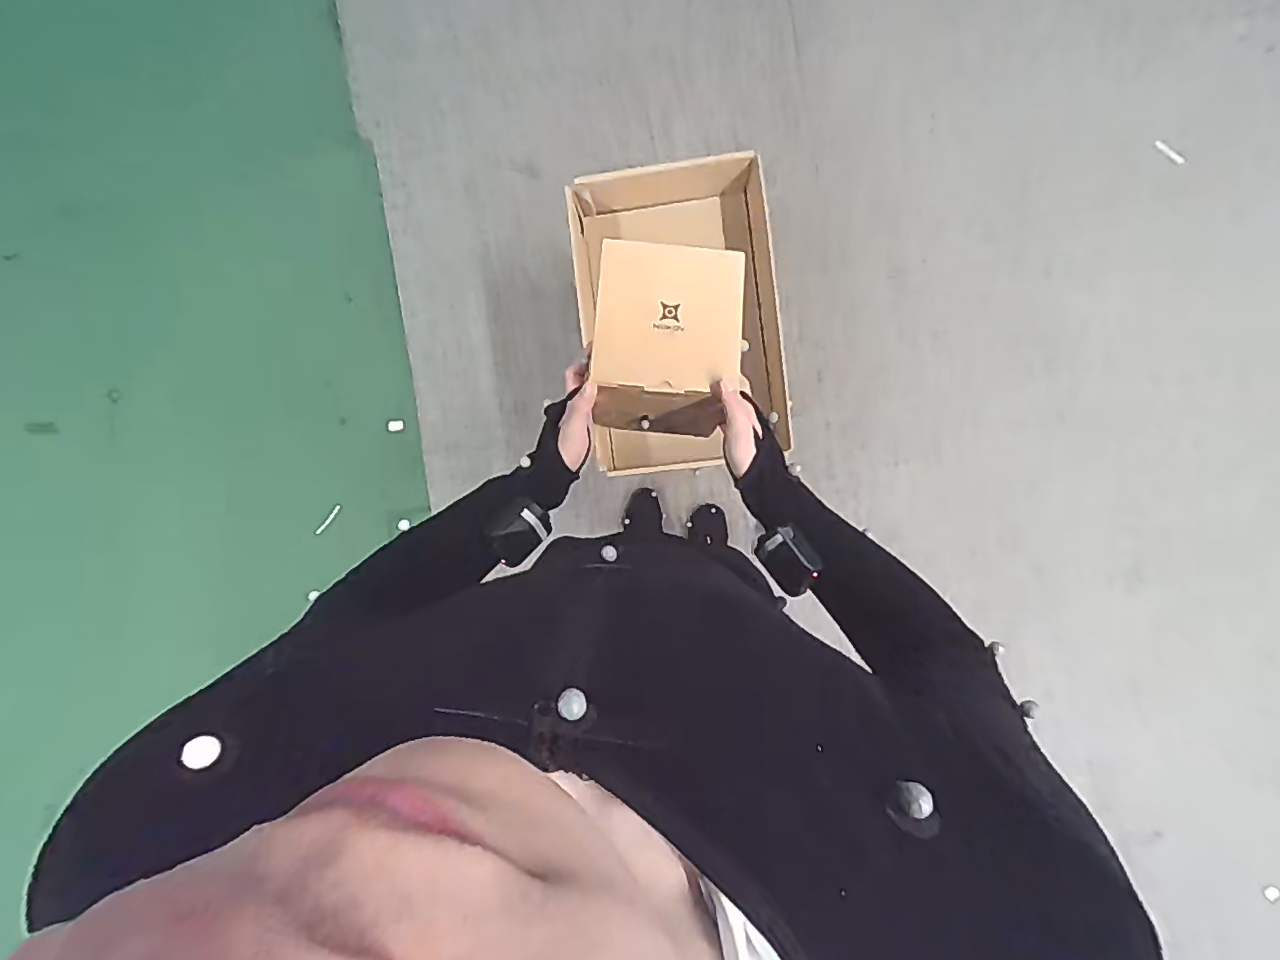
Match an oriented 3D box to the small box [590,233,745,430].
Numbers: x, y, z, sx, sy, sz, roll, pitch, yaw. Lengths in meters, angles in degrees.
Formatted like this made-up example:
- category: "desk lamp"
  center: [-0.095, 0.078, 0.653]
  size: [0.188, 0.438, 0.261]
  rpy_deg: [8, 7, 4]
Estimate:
- category: "small box"
  center: [0.027, -0.173, 0.672]
  size: [0.168, 0.176, 0.179]
  rpy_deg: [4, 81, -2]
